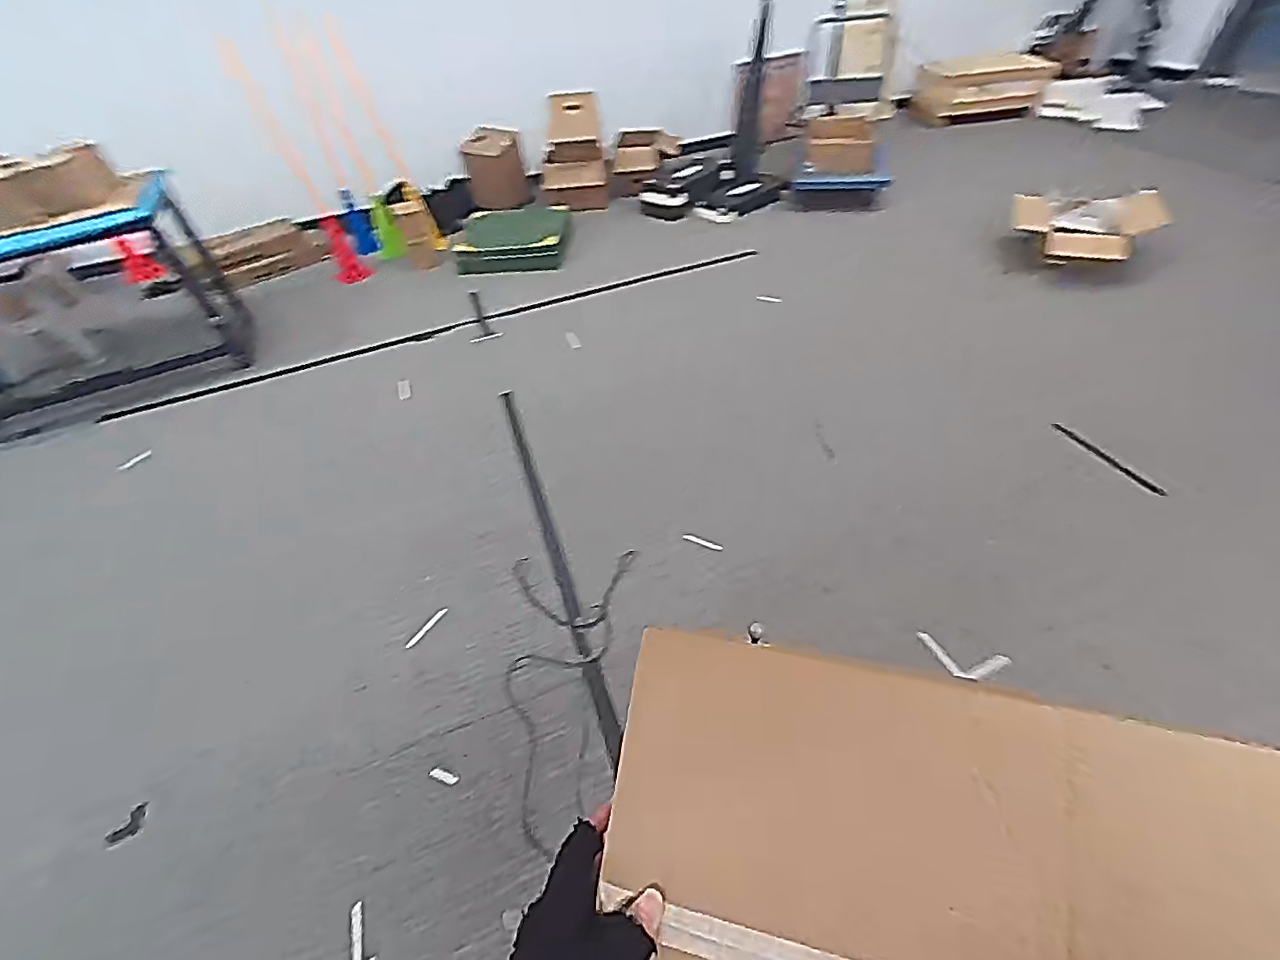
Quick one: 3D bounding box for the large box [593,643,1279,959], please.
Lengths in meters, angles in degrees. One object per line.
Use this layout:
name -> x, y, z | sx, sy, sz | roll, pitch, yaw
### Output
large box -> 0.197, 0.312, 0.421 | 0.408, 0.320, 0.320 | 5, 77, 15
